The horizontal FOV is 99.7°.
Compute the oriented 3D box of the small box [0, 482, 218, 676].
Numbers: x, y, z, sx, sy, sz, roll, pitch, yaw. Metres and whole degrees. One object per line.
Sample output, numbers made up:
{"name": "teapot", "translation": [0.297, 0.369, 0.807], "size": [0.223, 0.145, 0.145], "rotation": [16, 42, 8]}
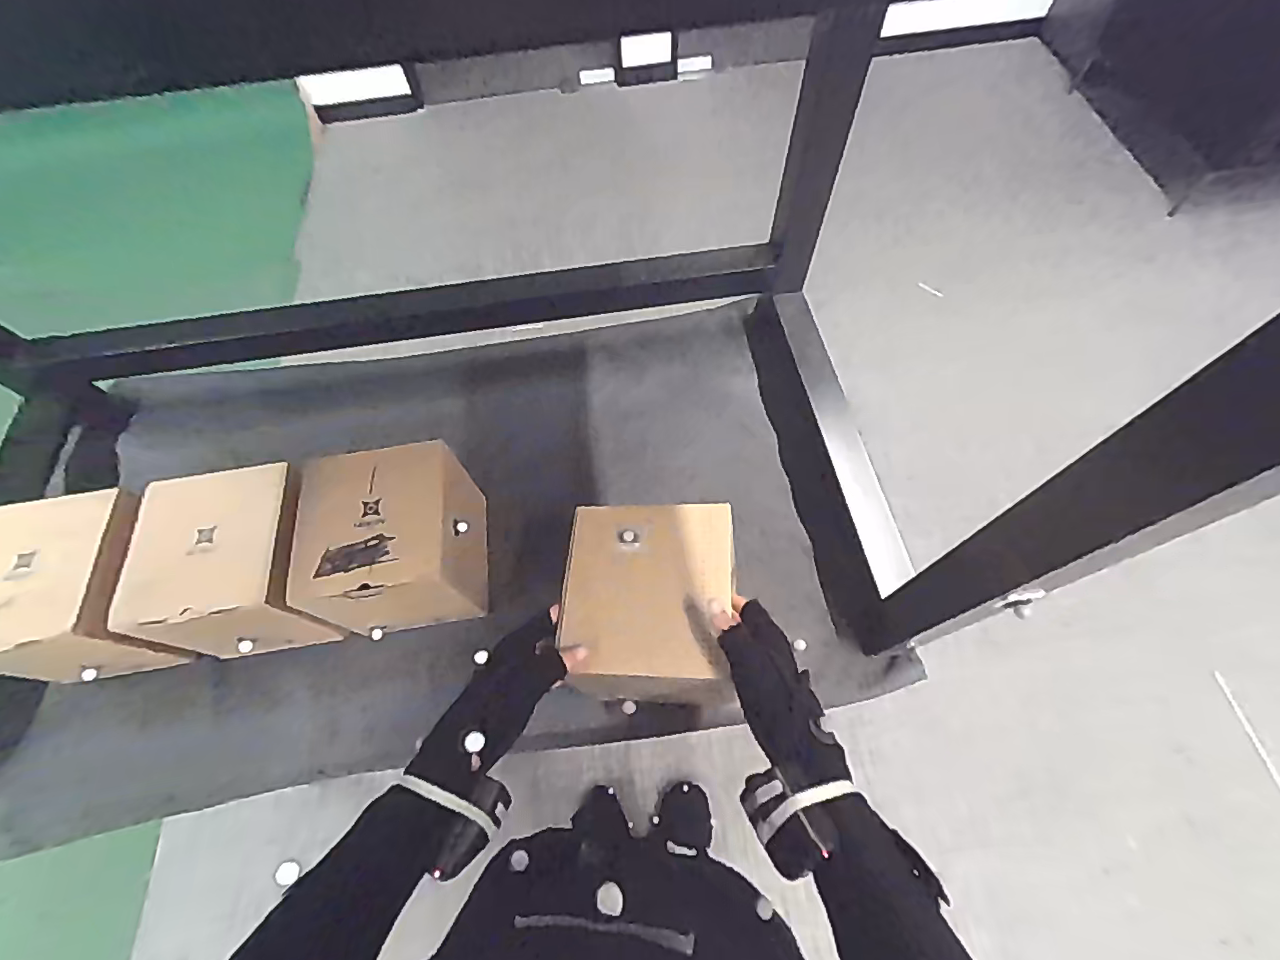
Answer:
{"name": "small box", "translation": [-0.667, 0.127, 0.661], "size": [0.168, 0.176, 0.179], "rotation": [-10, 63, -2]}
